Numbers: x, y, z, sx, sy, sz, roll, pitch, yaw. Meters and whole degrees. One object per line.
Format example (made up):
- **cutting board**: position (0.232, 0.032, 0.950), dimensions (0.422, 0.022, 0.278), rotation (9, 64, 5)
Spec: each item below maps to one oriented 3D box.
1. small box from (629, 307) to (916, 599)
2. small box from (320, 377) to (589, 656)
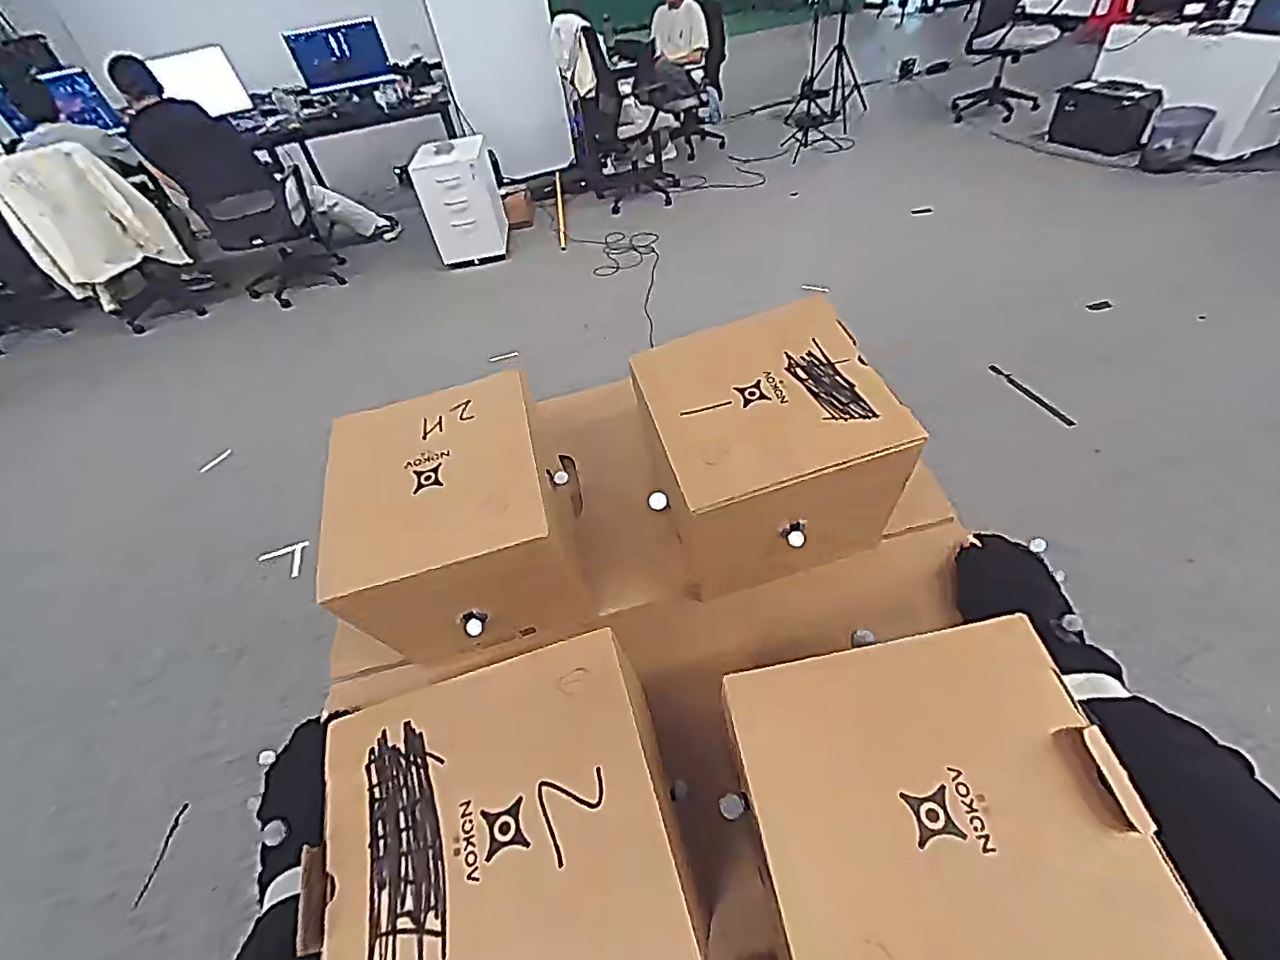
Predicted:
- **small box**: position (0.103, -0.017, 0.484), dimensions (0.179, 0.176, 0.168), rotation (-18, 55, -1)
- **small box**: position (-0.151, 0.043, 0.487), dimensions (0.168, 0.176, 0.179), rotation (-15, 54, -2)
